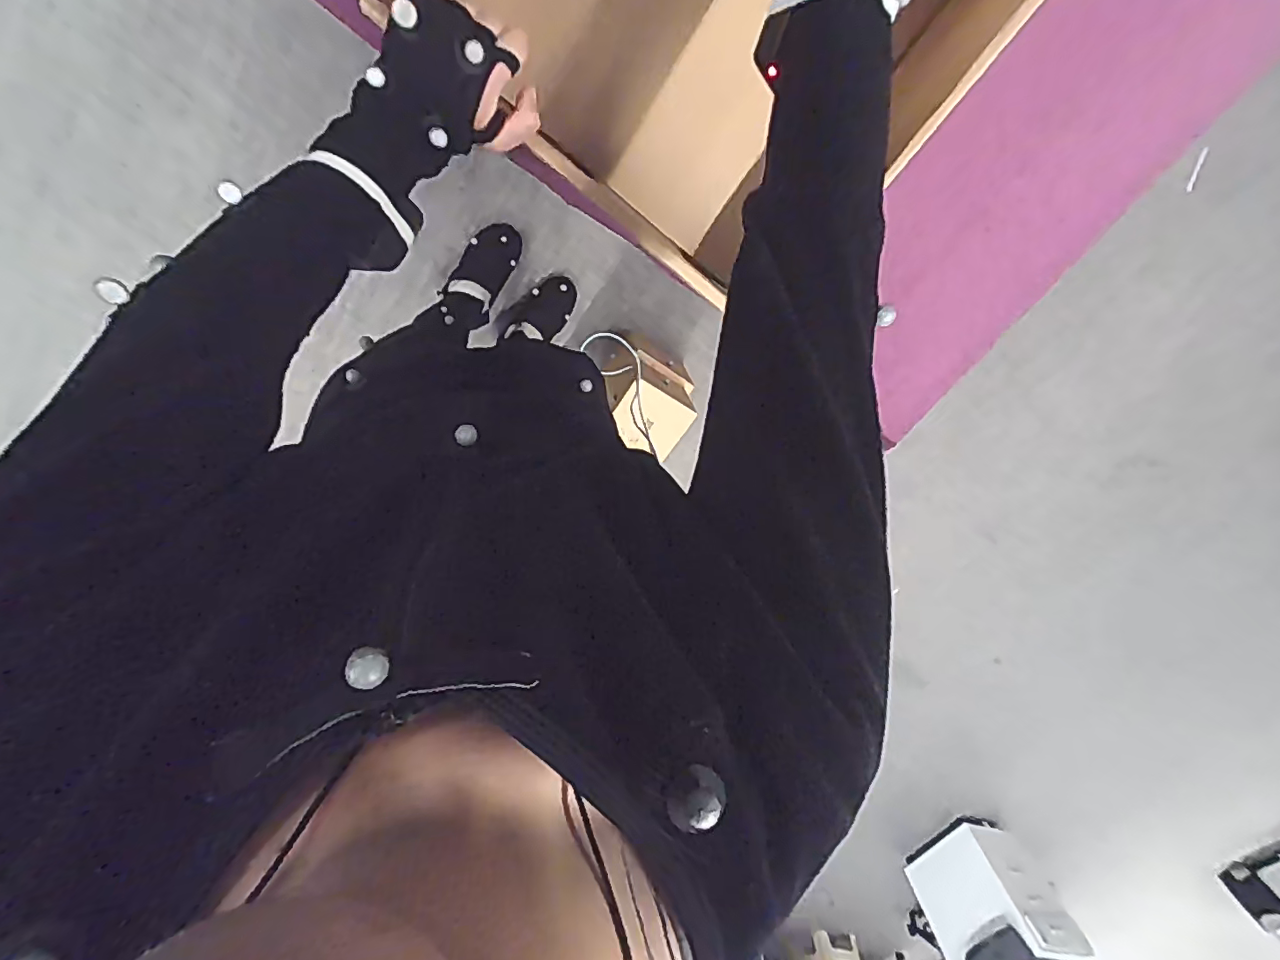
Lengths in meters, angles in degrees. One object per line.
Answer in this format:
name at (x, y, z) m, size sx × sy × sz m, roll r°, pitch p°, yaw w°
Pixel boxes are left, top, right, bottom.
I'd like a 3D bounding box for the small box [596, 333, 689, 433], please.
small box at (0.000, -0.257, 1.401) m, size 0.179 × 0.176 × 0.168 m, roll 30°, pitch 112°, yaw -21°
